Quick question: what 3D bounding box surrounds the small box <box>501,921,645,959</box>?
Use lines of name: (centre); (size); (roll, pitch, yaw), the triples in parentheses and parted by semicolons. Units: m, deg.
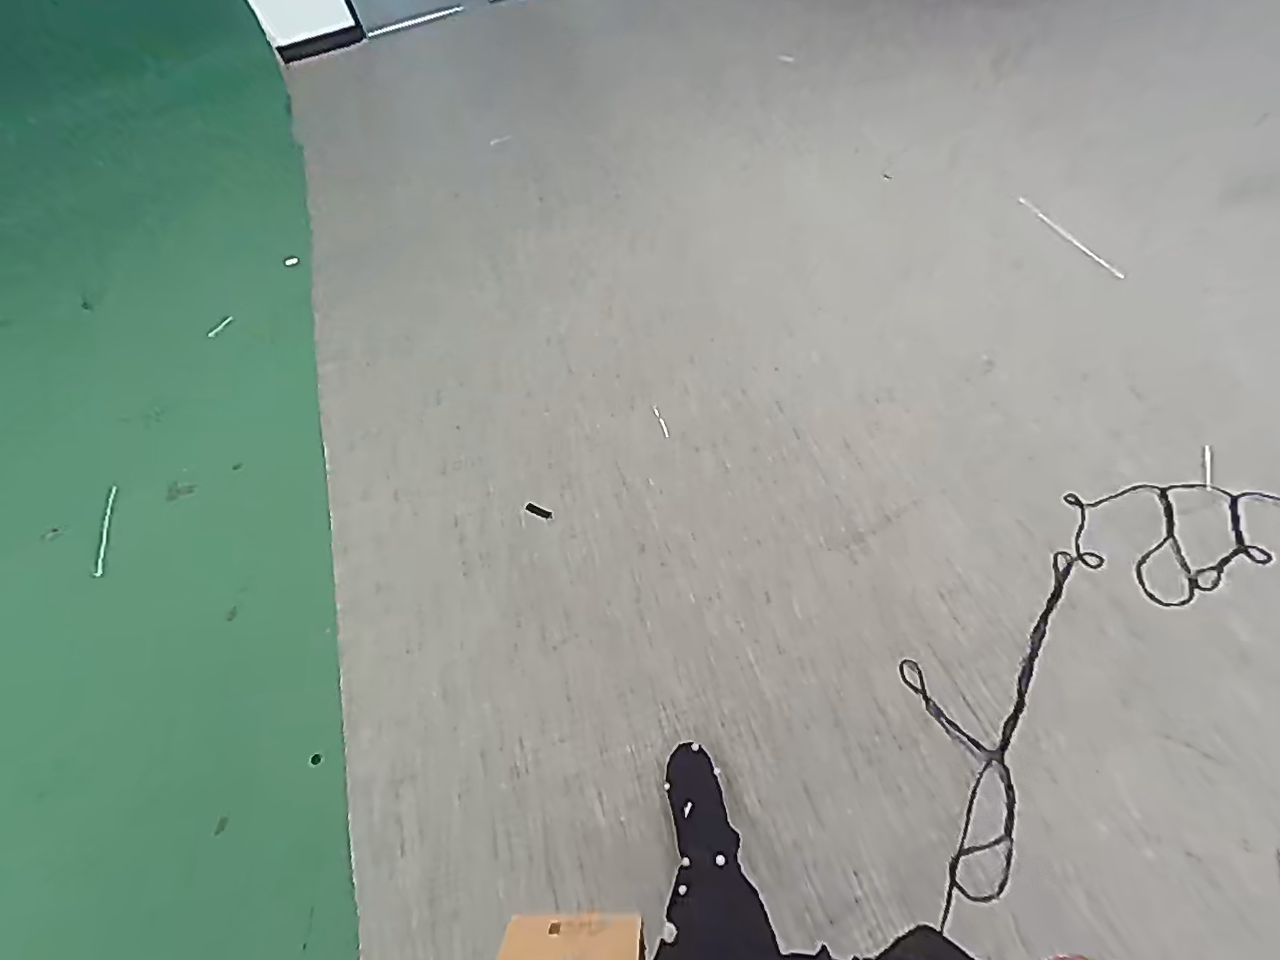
small box: (-0.076, 0.626, 0.590); (0.168, 0.176, 0.179); (-6, 96, 3)
